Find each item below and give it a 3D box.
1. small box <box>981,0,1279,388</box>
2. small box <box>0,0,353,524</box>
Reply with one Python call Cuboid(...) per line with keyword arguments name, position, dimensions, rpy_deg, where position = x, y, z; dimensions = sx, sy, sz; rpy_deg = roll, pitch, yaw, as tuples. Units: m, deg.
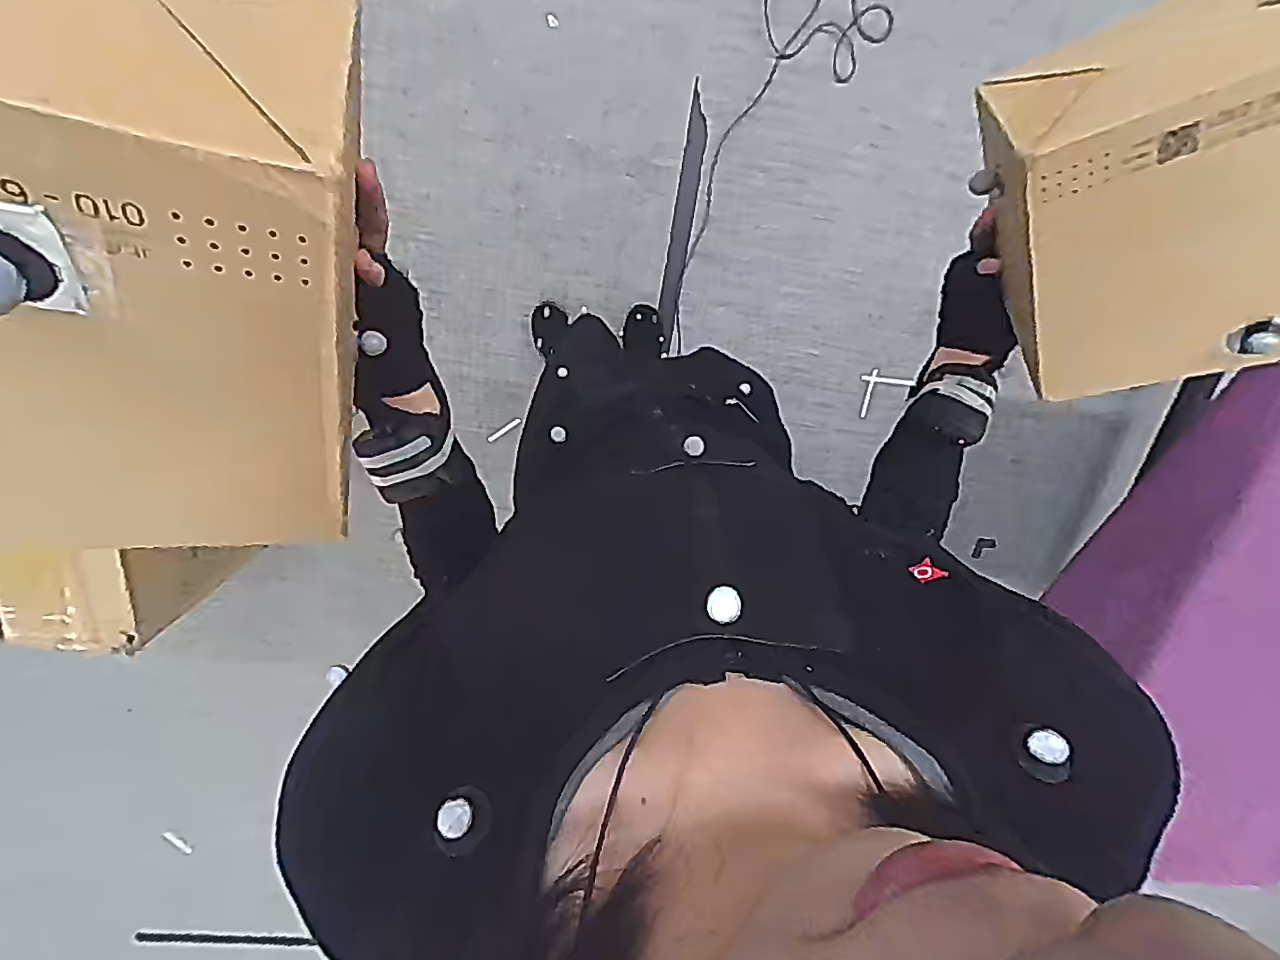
Cuboid(name="small box", position=(0.320, -0.190, 0.328), dimensions=(0.168, 0.179, 0.176), rpy_deg=(-11, 130, 32))
Cuboid(name="small box", position=(-0.198, -0.101, 0.195), dimensions=(0.168, 0.179, 0.176), rpy_deg=(1, 141, -25))
